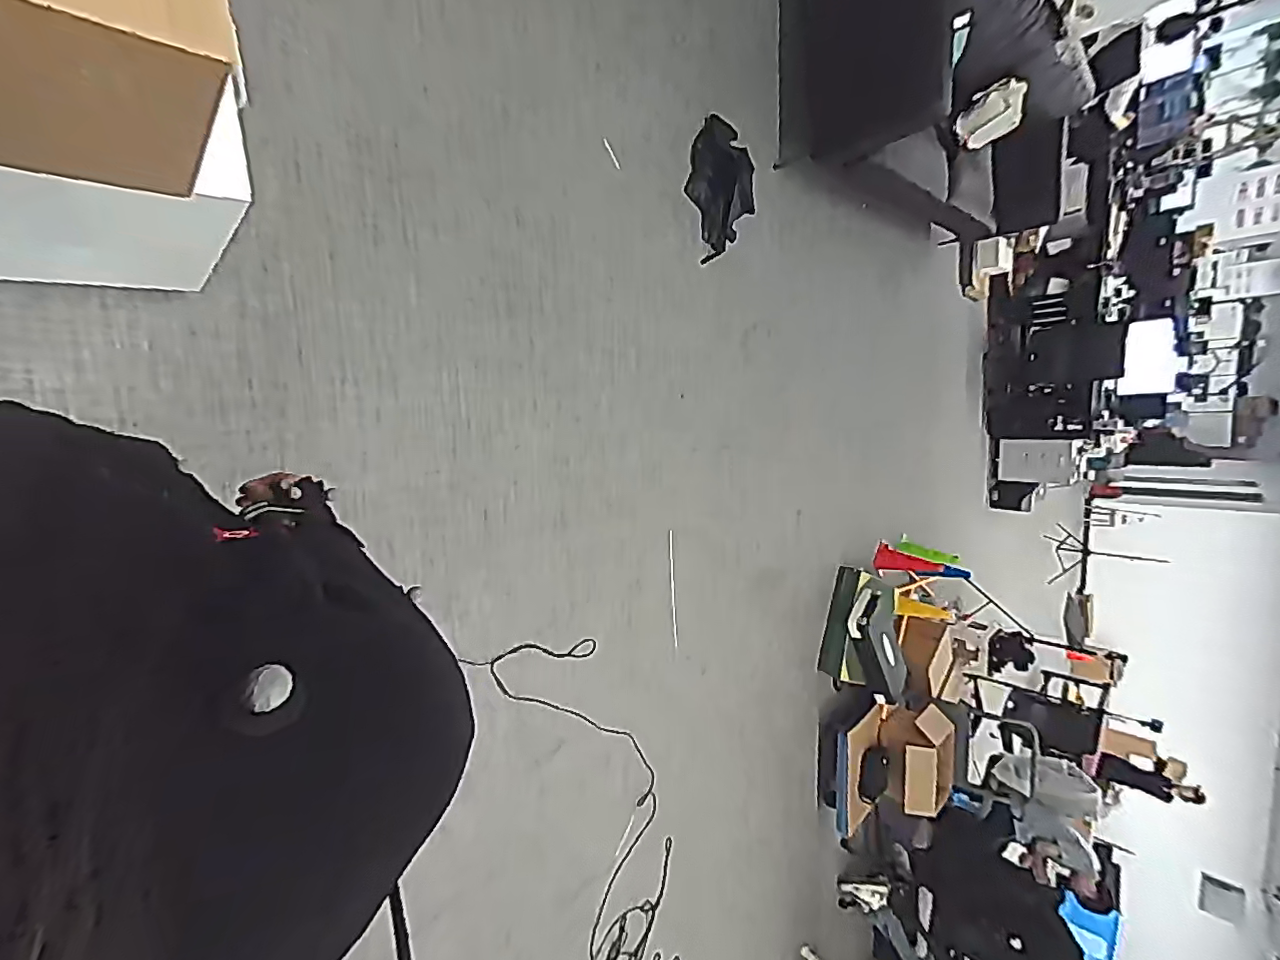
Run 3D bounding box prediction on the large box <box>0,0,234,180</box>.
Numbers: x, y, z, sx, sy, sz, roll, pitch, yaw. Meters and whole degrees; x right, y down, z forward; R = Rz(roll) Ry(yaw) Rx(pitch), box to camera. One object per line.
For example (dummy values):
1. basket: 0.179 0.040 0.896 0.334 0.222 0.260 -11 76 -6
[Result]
1. large box: -0.559 -0.444 0.347 0.408 0.320 0.320 -12 103 -45
